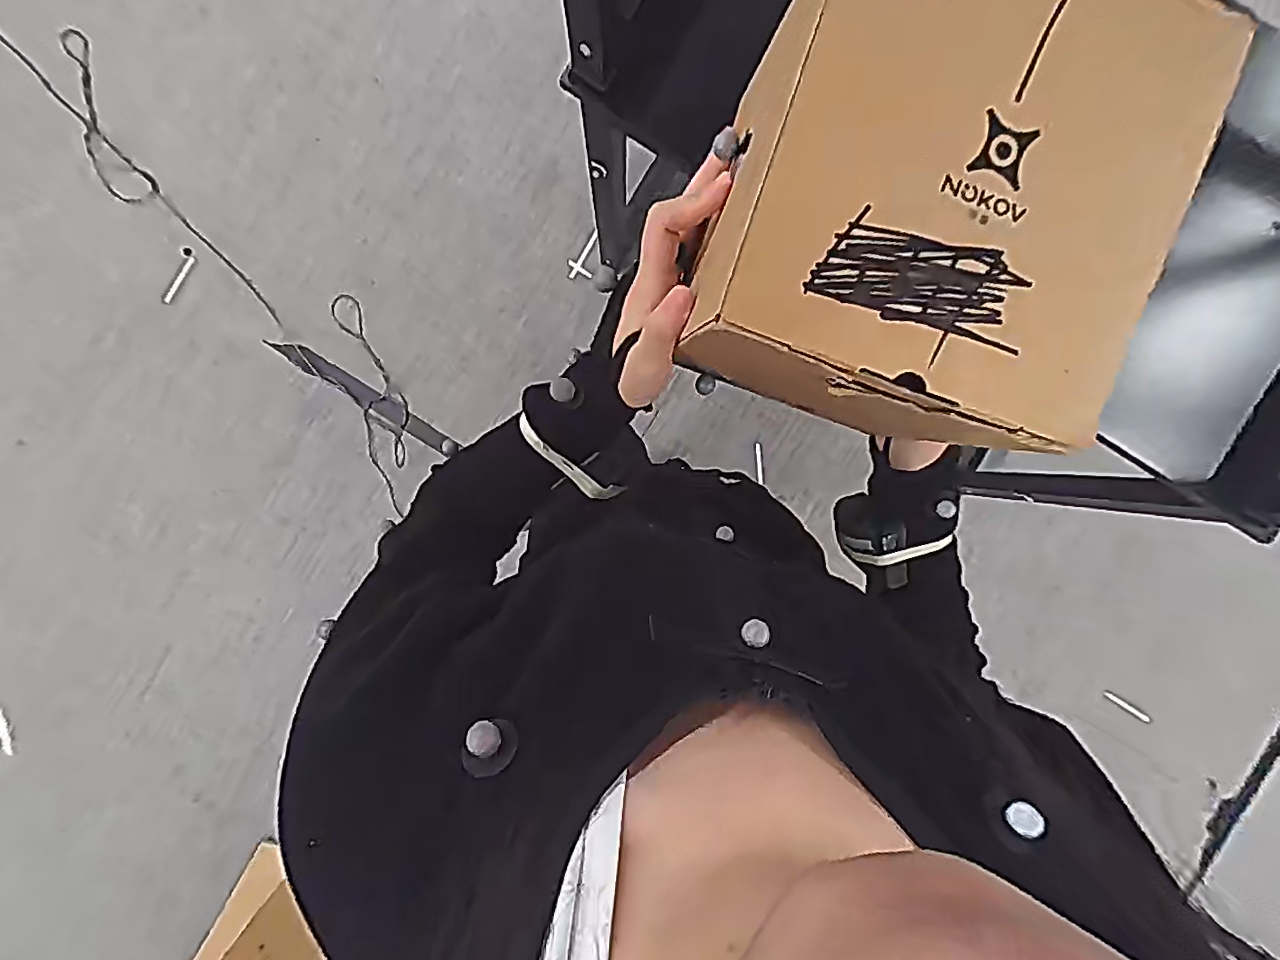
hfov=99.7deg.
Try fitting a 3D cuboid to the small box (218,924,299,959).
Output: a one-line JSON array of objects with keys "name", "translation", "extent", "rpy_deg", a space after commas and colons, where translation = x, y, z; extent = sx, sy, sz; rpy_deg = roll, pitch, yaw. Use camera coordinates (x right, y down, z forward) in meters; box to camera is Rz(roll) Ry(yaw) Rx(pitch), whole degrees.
[{"name": "small box", "translation": [-0.955, 1.220, 1.272], "extent": [0.168, 0.176, 0.179], "rpy_deg": [34, 90, -3]}]

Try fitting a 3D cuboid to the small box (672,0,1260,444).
[{"name": "small box", "translation": [0.123, -0.130, 0.280], "extent": [0.168, 0.176, 0.179], "rpy_deg": [17, 96, -8]}]
